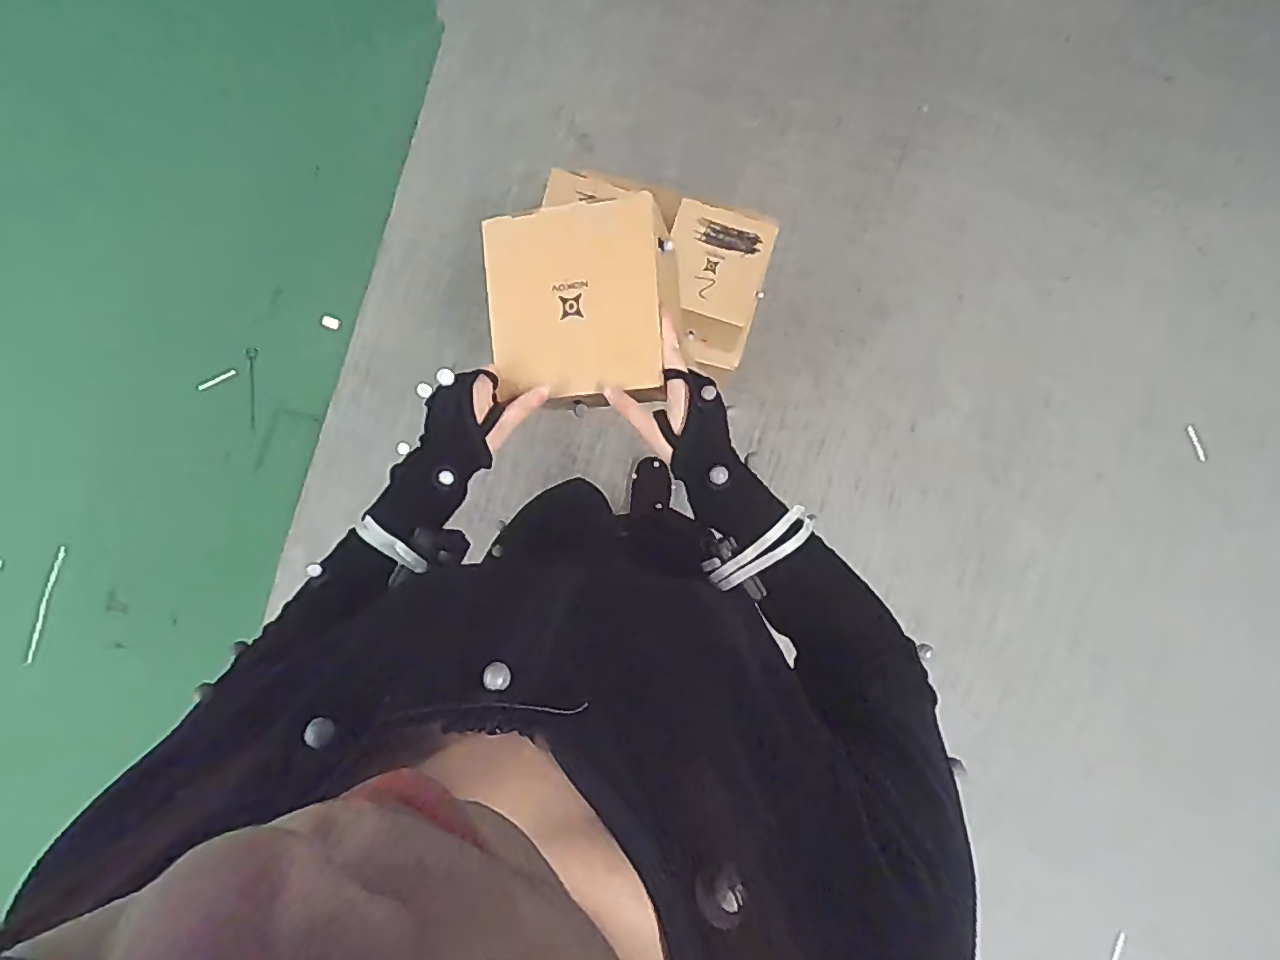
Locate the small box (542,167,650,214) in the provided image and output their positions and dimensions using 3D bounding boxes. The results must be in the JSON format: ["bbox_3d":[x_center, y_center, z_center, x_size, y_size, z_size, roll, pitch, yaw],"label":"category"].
[{"bbox_3d":[-0.085,-0.415,0.976,0.168,0.176,0.179,18,94,1],"label":"small box"}]

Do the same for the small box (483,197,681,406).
[{"bbox_3d":[-0.050,-0.174,0.590,0.168,0.176,0.179,-3,93,12],"label":"small box"}]
